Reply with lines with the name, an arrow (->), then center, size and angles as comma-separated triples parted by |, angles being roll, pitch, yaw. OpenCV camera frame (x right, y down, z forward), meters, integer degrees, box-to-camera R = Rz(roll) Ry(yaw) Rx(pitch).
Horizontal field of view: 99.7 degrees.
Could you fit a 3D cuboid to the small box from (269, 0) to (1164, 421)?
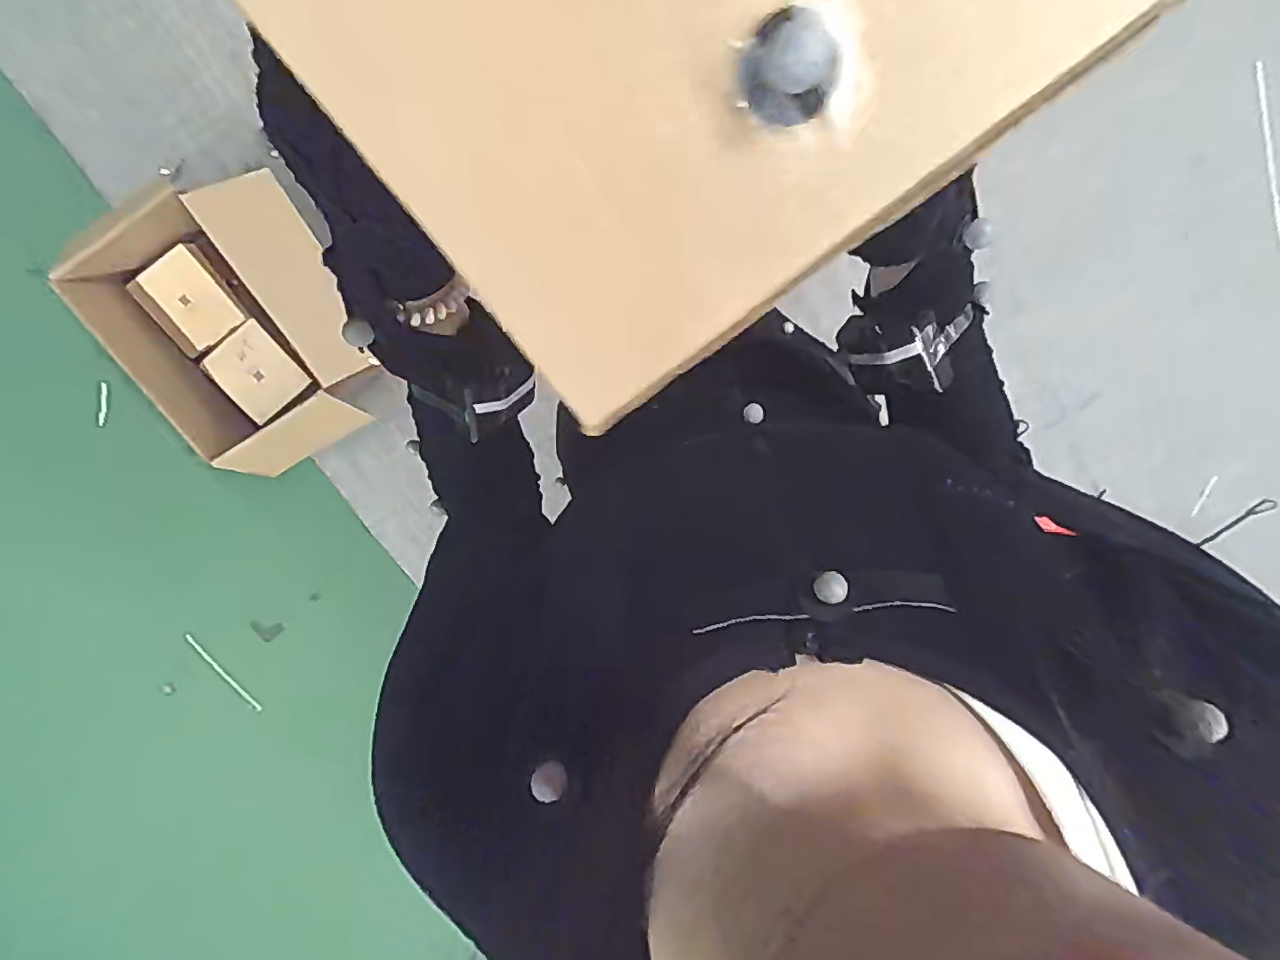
small box -> 0.007, -0.156, 0.191 | 0.179, 0.168, 0.176 | -34, 106, 18
